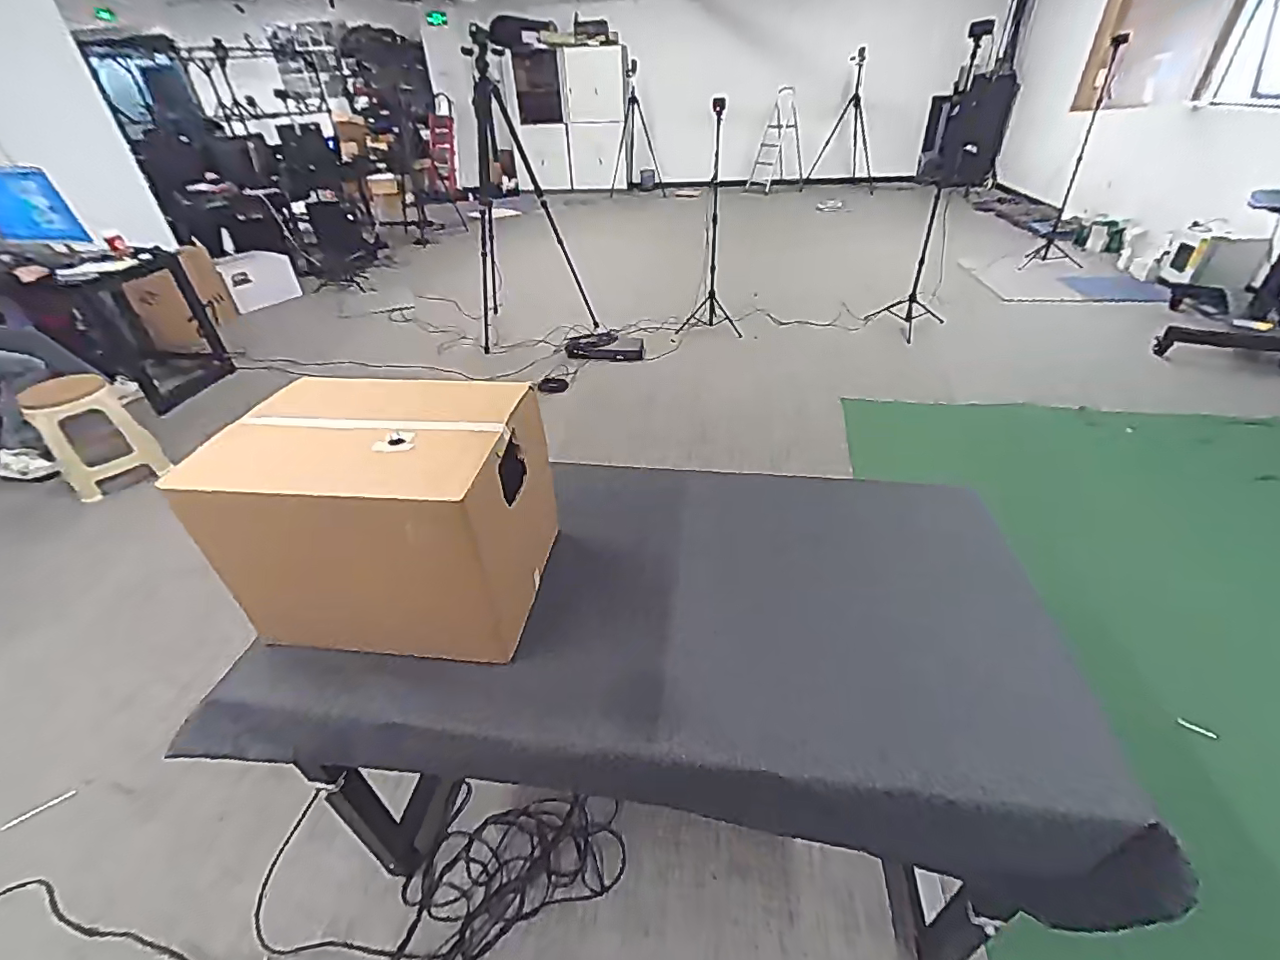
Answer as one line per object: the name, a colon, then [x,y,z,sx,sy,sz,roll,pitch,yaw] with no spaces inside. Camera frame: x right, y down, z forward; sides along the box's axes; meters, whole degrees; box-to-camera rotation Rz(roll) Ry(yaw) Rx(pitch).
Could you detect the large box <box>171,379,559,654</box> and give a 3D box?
large box: [-0.368,0.047,0.854,0.408,0.320,0.320,3,37,5]
